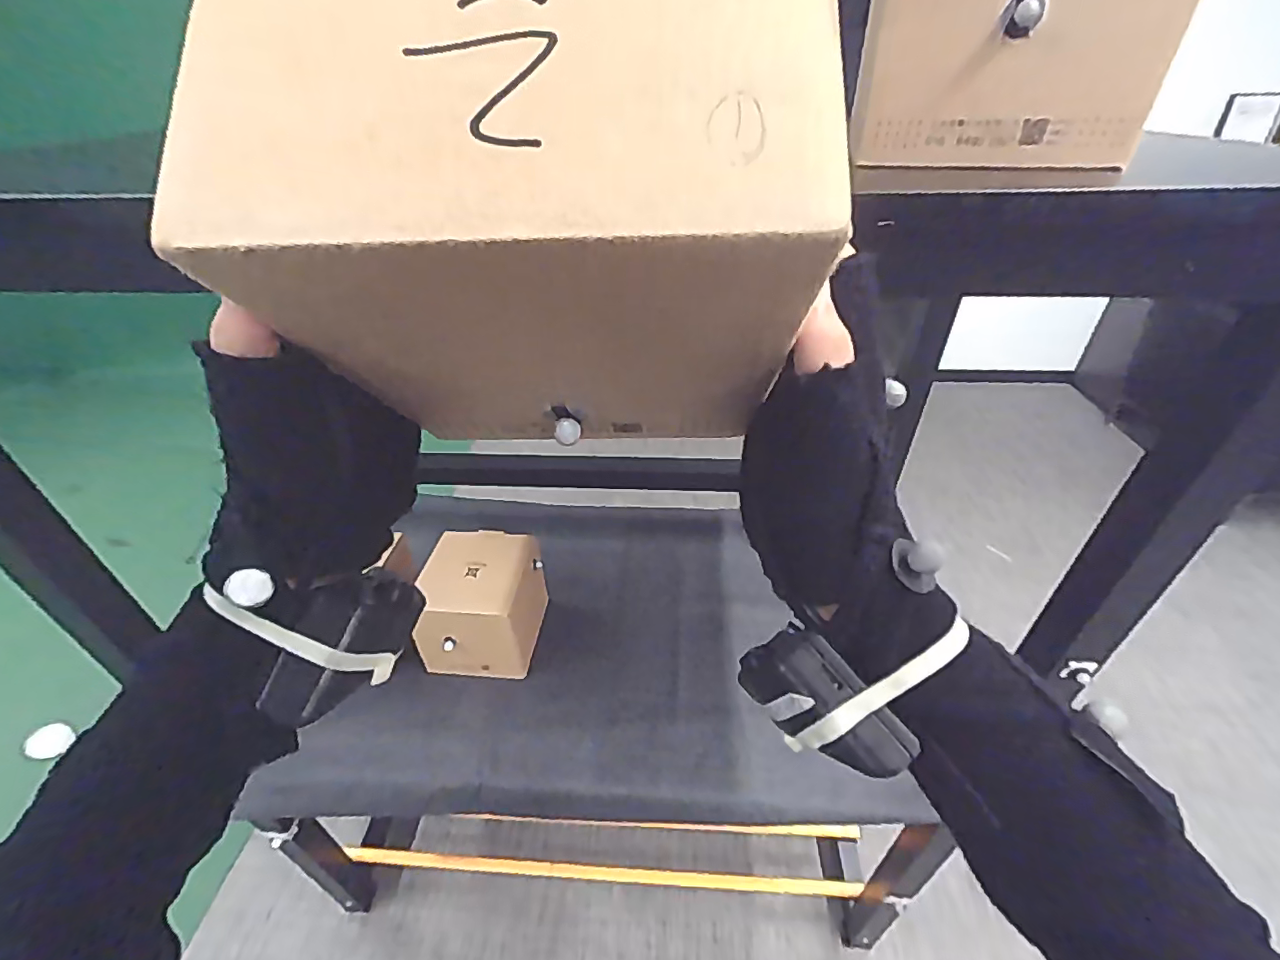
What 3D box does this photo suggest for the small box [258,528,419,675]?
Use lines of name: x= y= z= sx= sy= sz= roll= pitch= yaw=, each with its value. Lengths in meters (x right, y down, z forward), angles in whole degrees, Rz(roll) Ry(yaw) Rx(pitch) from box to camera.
small box: x=-0.492 y=0.205 z=0.924 sx=0.168 sy=0.176 sz=0.179 roll=2 pitch=37 yaw=3

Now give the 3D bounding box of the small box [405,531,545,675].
small box: x=-0.264 y=0.209 z=0.918 sx=0.168 sy=0.176 sz=0.179 roll=2 pitch=36 yaw=4

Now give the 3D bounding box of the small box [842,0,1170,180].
small box: x=0.250 y=-0.323 z=0.393 sx=0.168 sy=0.176 sz=0.179 roll=9 pitch=37 yaw=12
